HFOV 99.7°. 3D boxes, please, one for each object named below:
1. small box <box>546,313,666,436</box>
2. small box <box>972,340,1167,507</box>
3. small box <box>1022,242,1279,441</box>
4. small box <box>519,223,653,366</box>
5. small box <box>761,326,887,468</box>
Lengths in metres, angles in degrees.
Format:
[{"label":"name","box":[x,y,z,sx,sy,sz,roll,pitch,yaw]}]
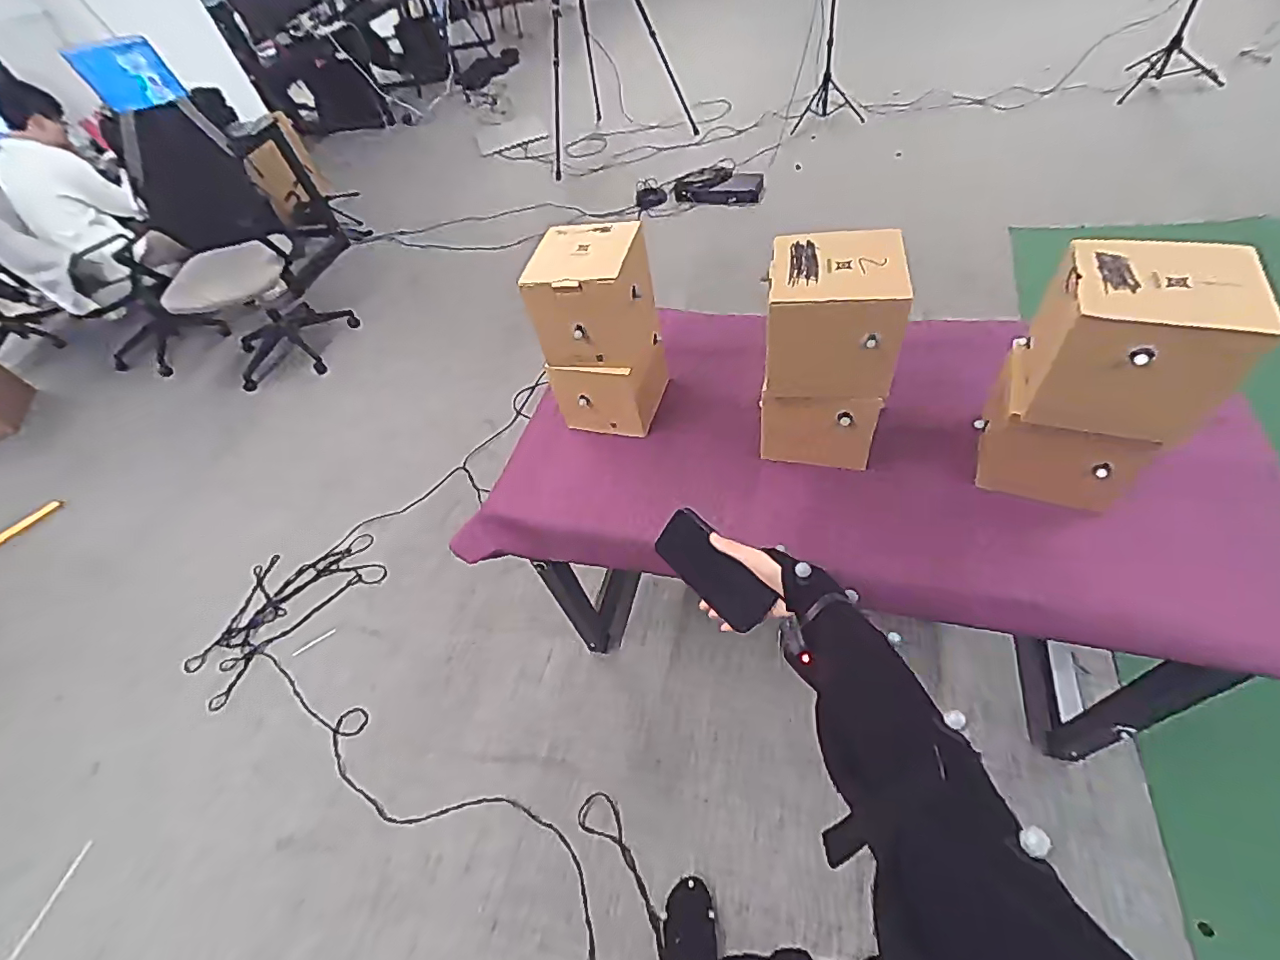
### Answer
[{"label":"small box","box":[-0.054,-0.205,1.051,0.168,0.176,0.179,9,54,19]},{"label":"small box","box":[0.623,-0.081,0.803,0.179,0.176,0.168,13,55,22]},{"label":"small box","box":[0.599,-0.168,0.666,0.179,0.176,0.168,14,56,21]},{"label":"small box","box":[-0.079,-0.313,0.929,0.168,0.176,0.179,5,54,15]},{"label":"small box","box":[0.307,-0.138,0.916,0.179,0.176,0.168,8,54,18]}]
